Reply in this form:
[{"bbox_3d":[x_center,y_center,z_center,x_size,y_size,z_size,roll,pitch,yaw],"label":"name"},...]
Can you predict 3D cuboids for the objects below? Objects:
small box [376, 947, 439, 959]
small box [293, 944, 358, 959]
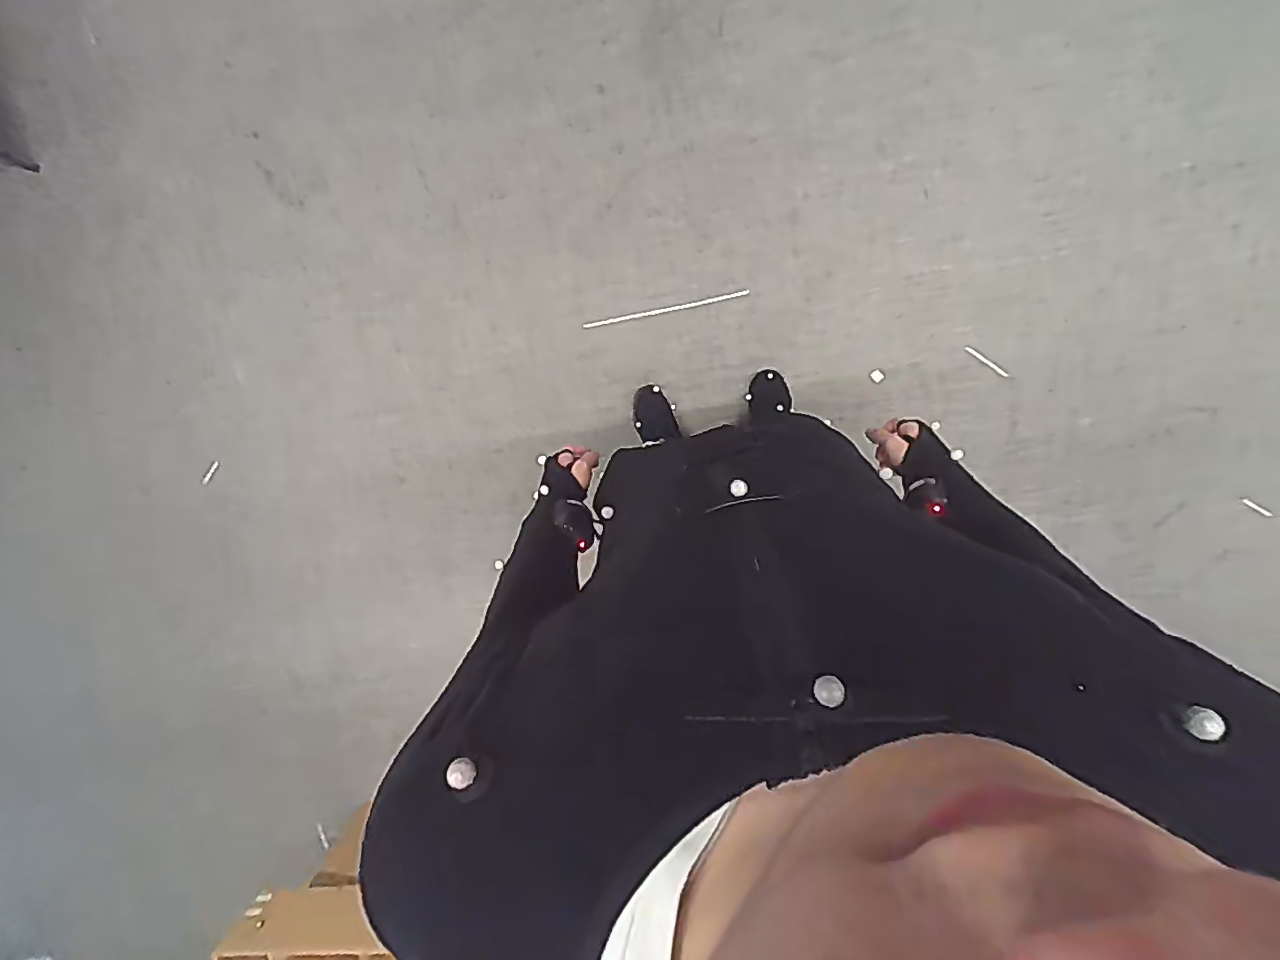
[{"bbox_3d":[-0.666,1.433,1.485,0.179,0.176,0.168,-5,101,7],"label":"small box"},{"bbox_3d":[-0.916,1.457,1.519,0.179,0.176,0.168,-8,100,4],"label":"small box"}]
